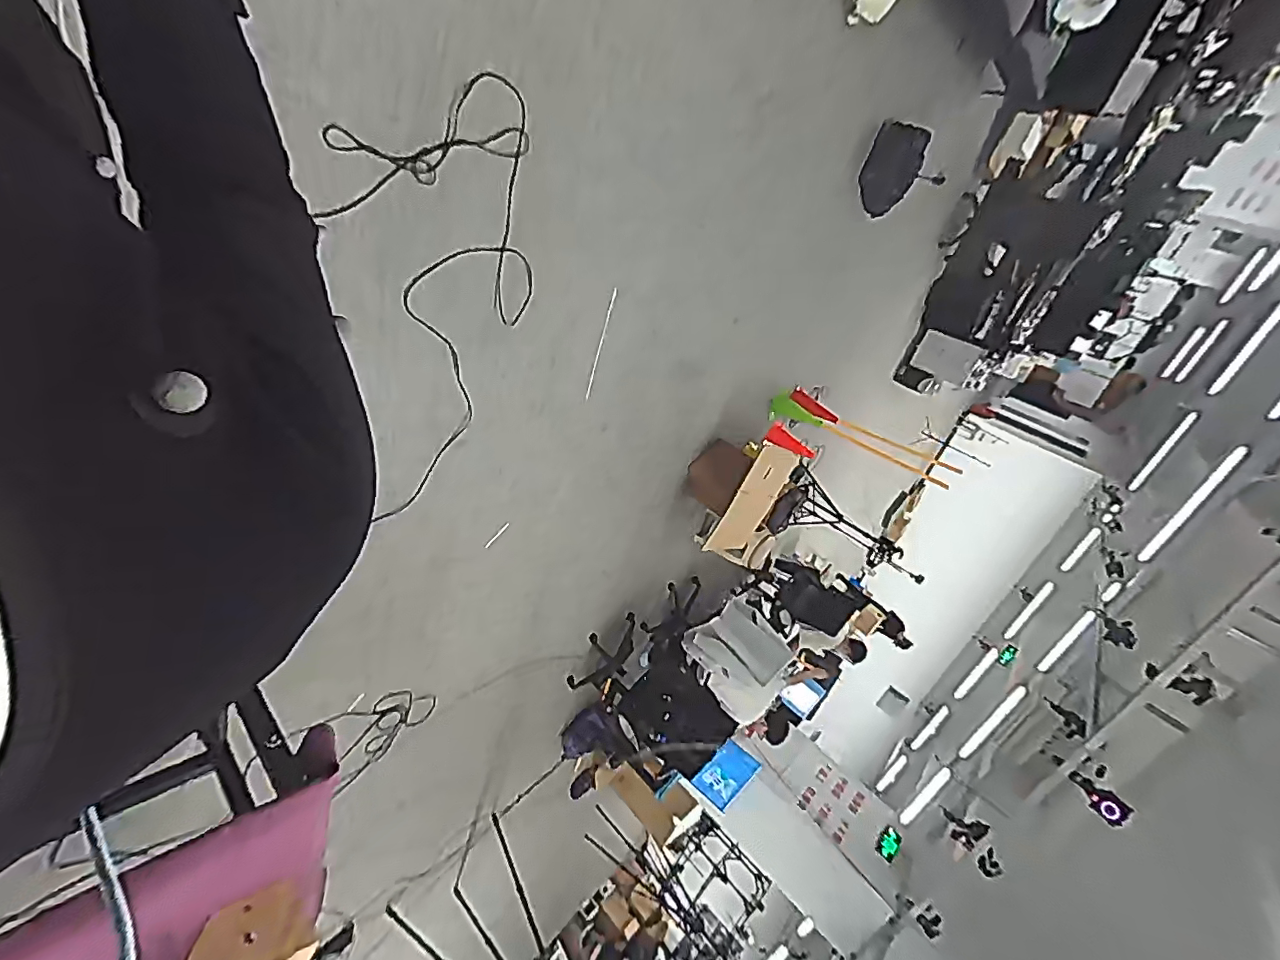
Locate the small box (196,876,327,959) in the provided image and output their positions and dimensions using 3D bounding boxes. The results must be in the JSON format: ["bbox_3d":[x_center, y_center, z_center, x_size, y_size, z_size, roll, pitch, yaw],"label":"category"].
[{"bbox_3d":[-0.843,1.029,1.199,0.179,0.176,0.168,-58,150,10],"label":"small box"}]
